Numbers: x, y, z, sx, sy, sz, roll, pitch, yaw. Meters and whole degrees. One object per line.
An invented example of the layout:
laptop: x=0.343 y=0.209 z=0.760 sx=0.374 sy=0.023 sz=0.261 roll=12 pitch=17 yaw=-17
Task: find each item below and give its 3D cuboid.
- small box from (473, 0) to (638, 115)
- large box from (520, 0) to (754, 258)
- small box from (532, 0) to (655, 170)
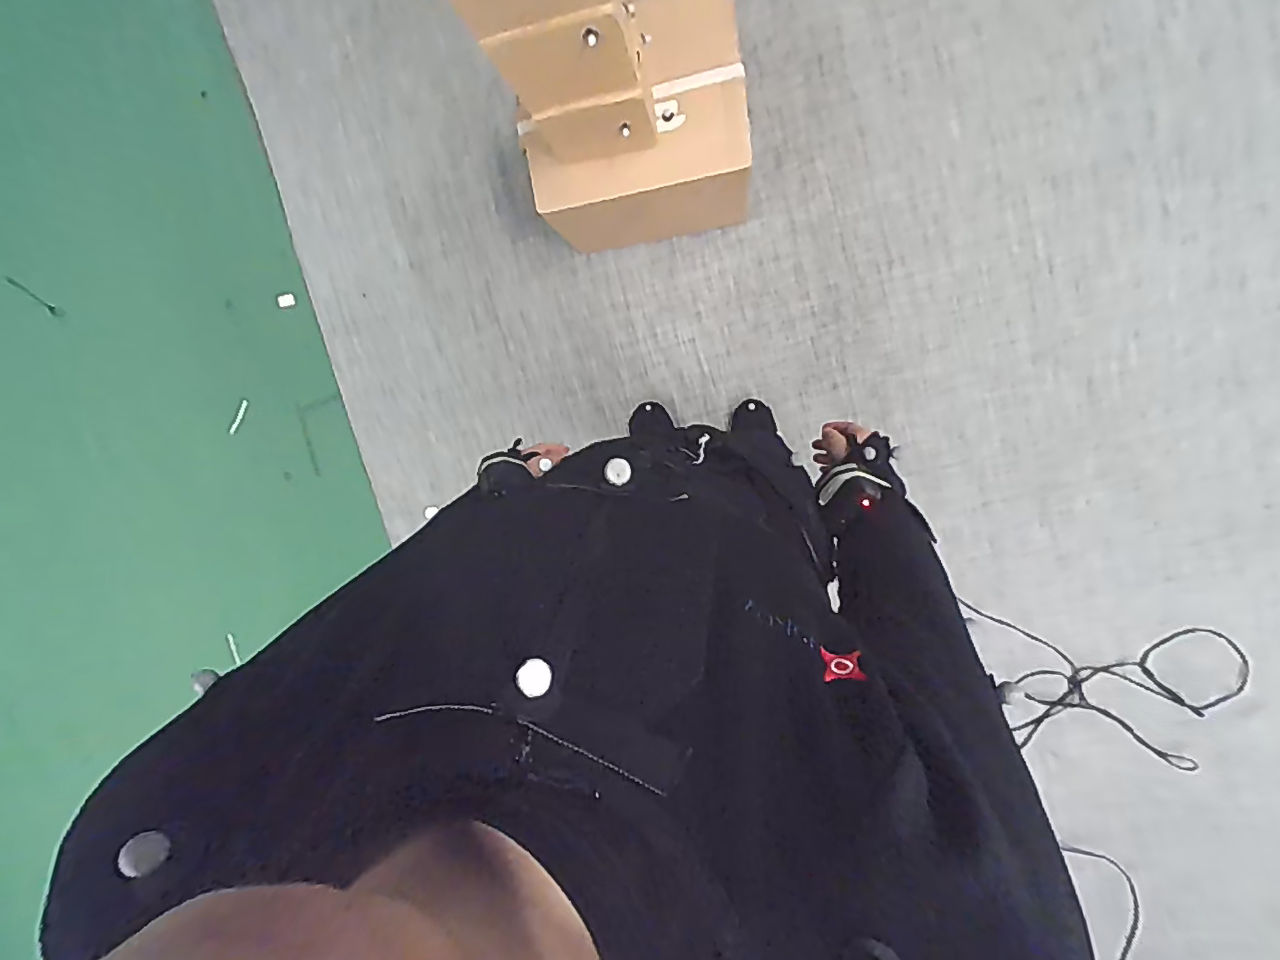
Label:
small box: x=-0.110 y=-0.626 z=0.720 sx=0.179 sy=0.176 sz=0.168 roll=-7 pitch=96 yaw=10
large box: x=0.003 y=-0.686 z=1.107 sx=0.408 sy=0.320 sz=0.320 roll=-8 pitch=98 yaw=9
small box: x=-0.075 y=-0.637 z=0.879 sx=0.179 sy=0.176 sz=0.168 roll=-7 pitch=96 yaw=11
